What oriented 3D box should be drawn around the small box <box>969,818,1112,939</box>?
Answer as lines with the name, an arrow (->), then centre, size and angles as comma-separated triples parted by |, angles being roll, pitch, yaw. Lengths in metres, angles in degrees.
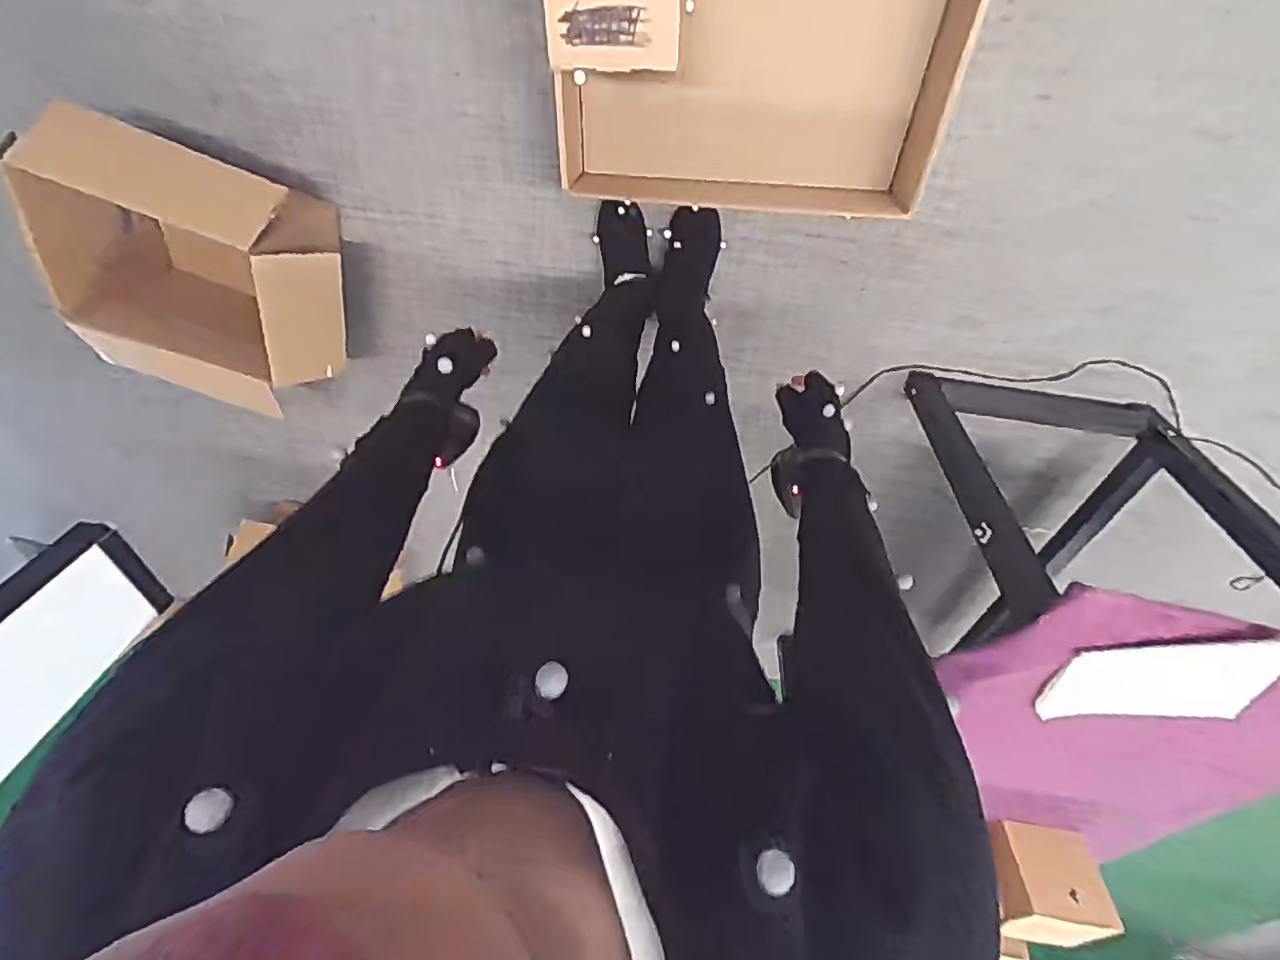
small box -> 0.827, 0.847, 1.153 | 0.179, 0.176, 0.168 | 10, 131, 0
